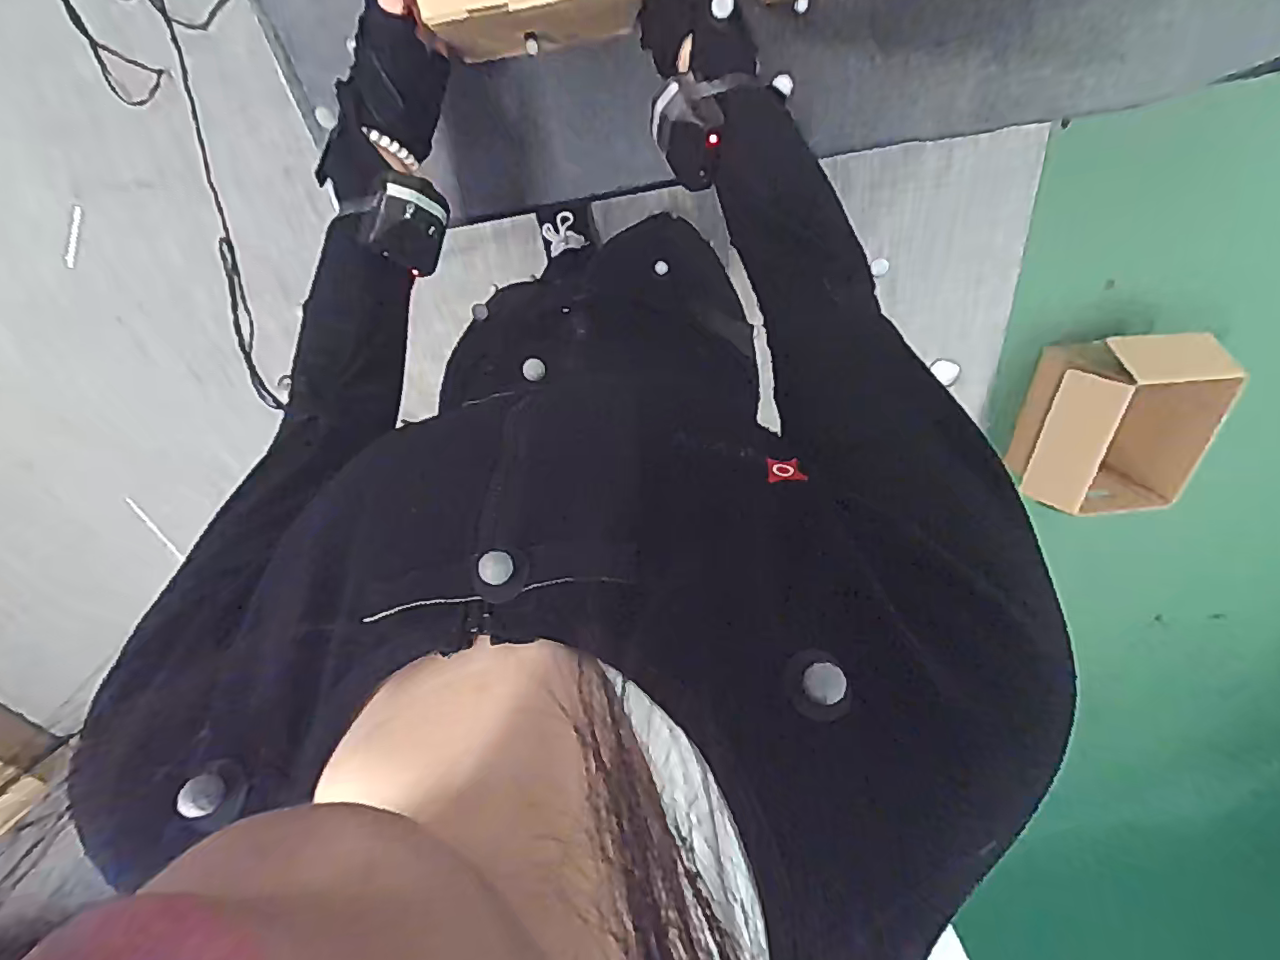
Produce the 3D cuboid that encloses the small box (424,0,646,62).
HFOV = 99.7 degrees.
[{"bbox_3d":[-0.092,-0.447,0.406,0.168,0.176,0.179,-12,122,-1],"label":"small box"}]
